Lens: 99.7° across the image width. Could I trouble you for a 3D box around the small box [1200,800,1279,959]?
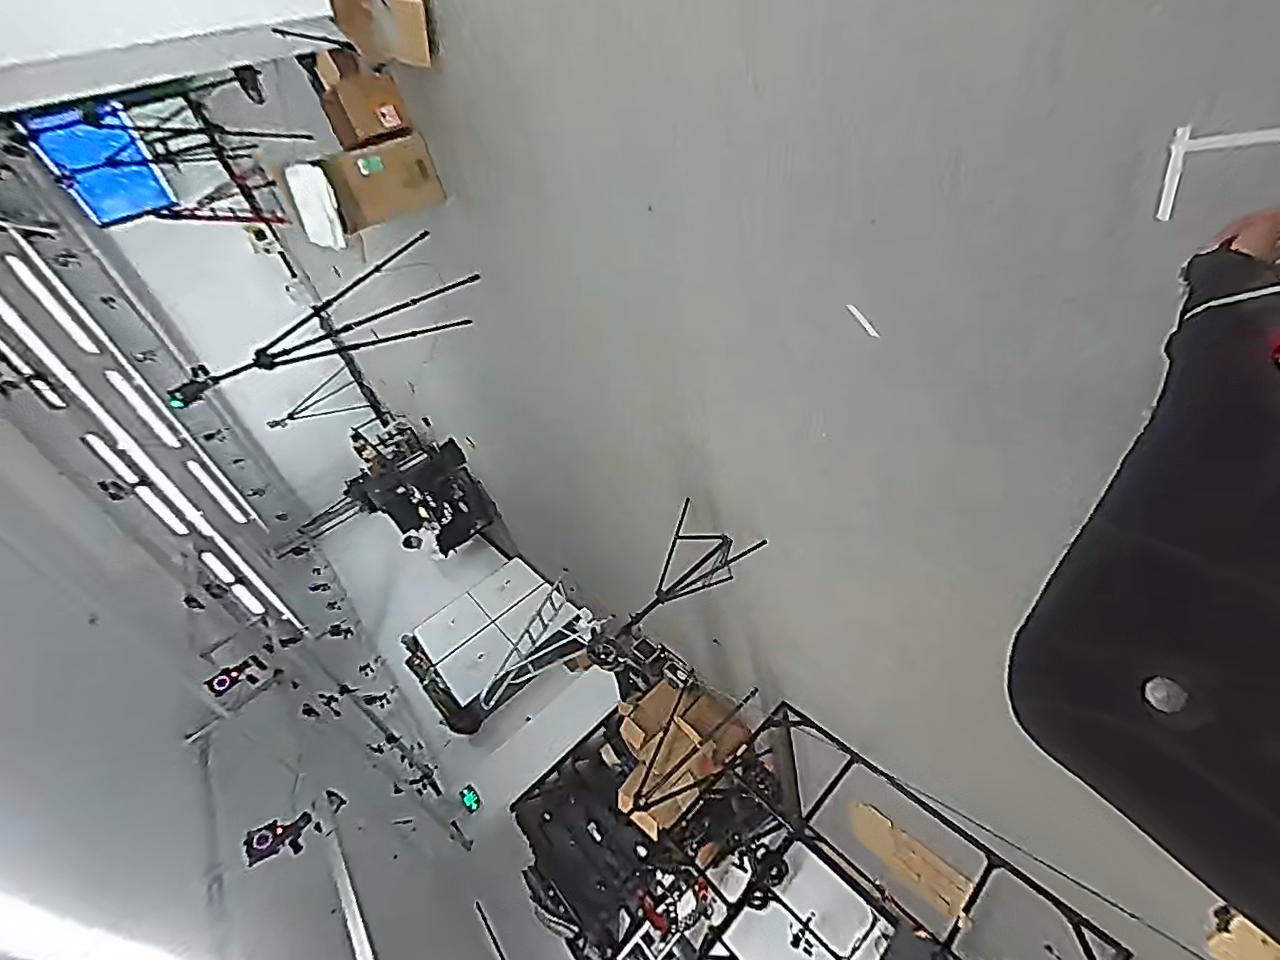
[{"bbox_3d":[0.821,0.527,0.631,0.179,0.176,0.168,26,143,46],"label":"small box"}]
